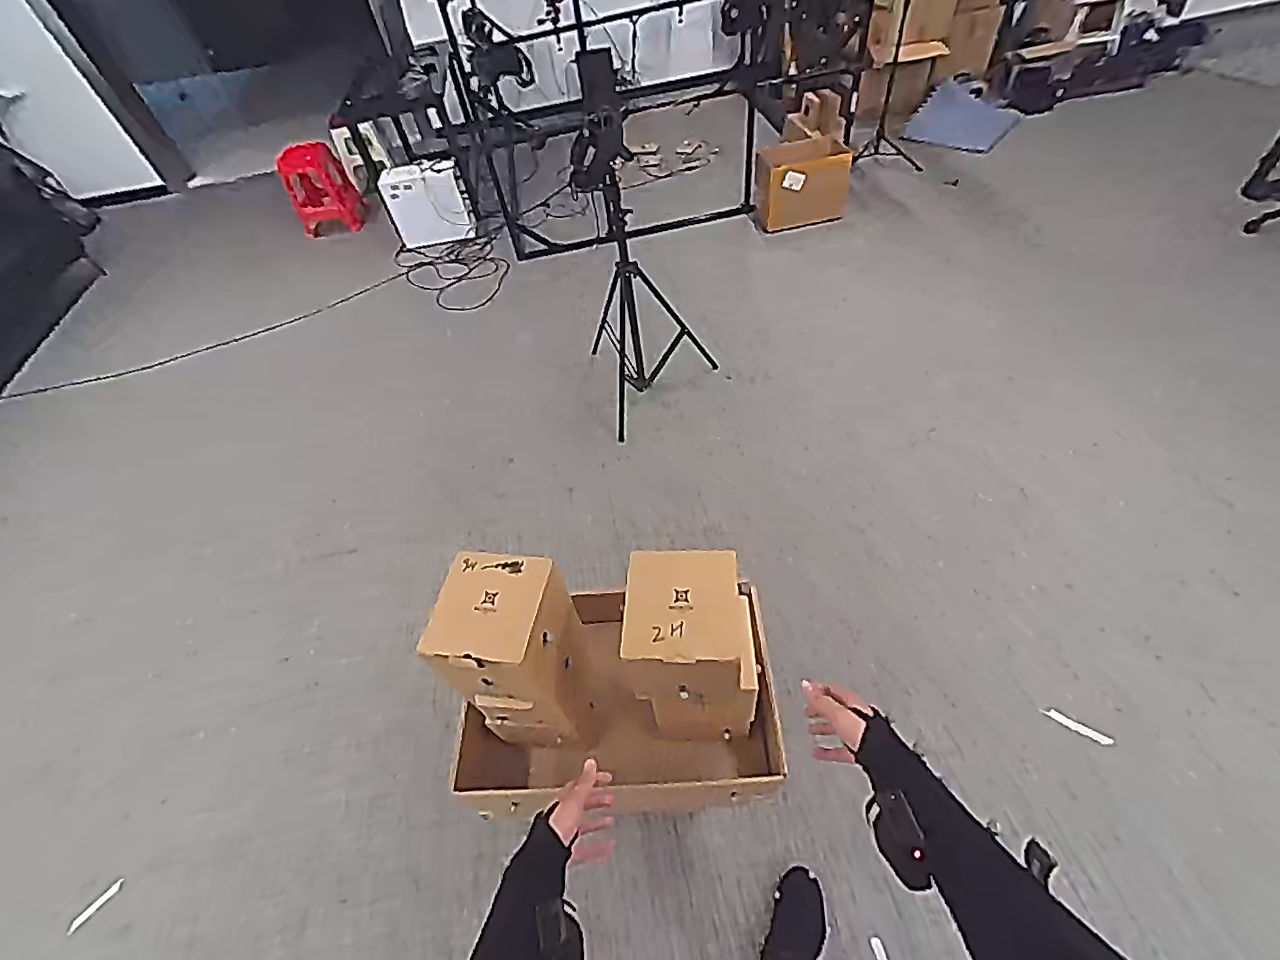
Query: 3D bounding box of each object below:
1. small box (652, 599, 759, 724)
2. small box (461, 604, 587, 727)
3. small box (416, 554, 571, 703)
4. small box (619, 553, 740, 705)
[{"bbox_3d":[0.112,0.328,0.969,0.179,0.176,0.168,-4,50,6],"label":"small box"},{"bbox_3d":[-0.202,0.343,1.004,0.168,0.176,0.179,0,50,9],"label":"small box"},{"bbox_3d":[-0.220,0.242,0.874,0.168,0.176,0.179,4,52,11],"label":"small box"},{"bbox_3d":[0.068,0.231,0.842,0.168,0.176,0.179,-2,50,9],"label":"small box"}]
